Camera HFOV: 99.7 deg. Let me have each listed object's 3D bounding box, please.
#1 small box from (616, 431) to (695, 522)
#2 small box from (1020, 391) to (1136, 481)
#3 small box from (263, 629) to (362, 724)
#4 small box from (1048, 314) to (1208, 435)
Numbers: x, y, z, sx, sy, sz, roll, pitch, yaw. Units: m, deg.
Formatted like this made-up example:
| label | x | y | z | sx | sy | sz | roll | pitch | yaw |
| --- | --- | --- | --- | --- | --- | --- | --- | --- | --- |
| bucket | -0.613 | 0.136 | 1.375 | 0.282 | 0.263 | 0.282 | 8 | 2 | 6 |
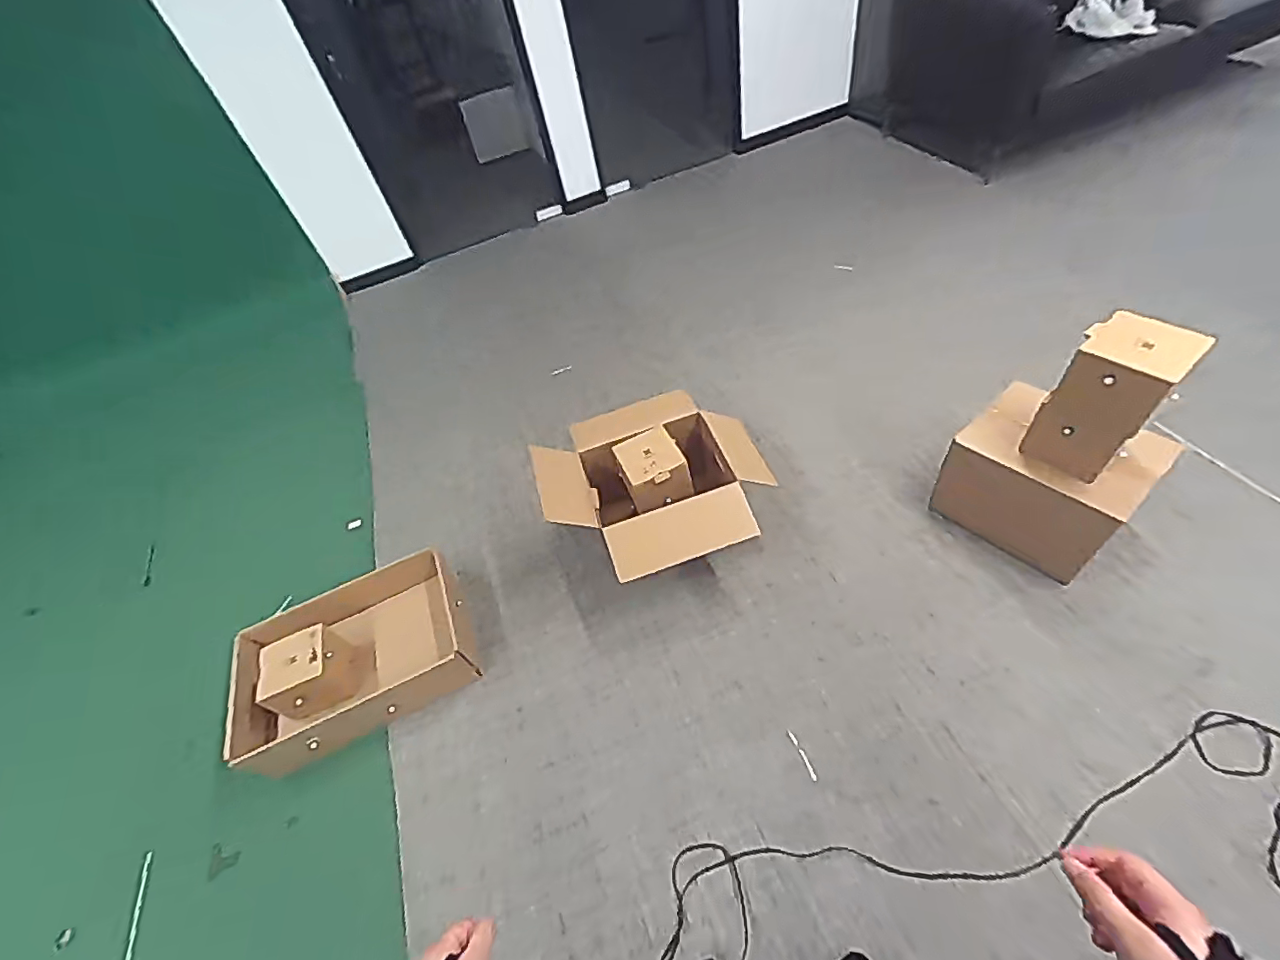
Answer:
| label | x | y | z | sx | sy | sz | roll | pitch | yaw |
| --- | --- | --- | --- | --- | --- | --- | --- | --- | --- |
| small box | 0.049 | -0.008 | 1.602 | 0.168 | 0.176 | 0.179 | -26 | 49 | -5 |
| small box | 1.070 | -0.128 | 1.307 | 0.168 | 0.176 | 0.179 | -38 | 53 | -17 |
| small box | -0.917 | 0.559 | 1.529 | 0.179 | 0.176 | 0.168 | -23 | 48 | -7 |
| small box | 1.047 | -0.223 | 1.177 | 0.168 | 0.176 | 0.179 | -38 | 52 | -16 |
